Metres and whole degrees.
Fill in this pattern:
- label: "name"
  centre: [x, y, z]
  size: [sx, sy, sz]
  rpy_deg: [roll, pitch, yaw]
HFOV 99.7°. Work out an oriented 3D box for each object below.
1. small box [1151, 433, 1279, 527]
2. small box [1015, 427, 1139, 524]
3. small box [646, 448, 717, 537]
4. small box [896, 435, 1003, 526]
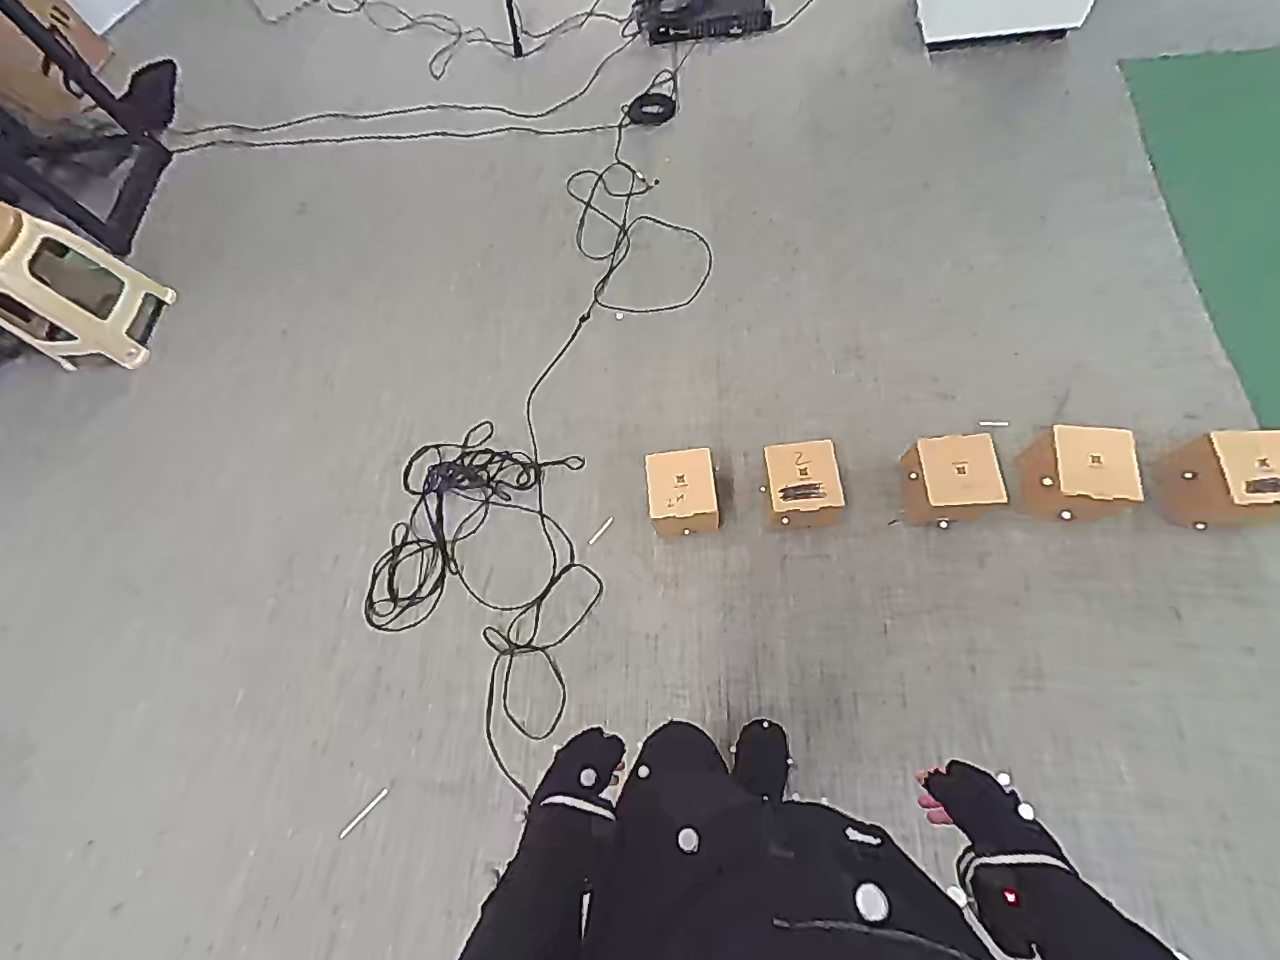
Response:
- label: "small box"
  centre: [1.349, 0.005, 1.249]
  size: [0.168, 0.176, 0.179]
  rpy_deg: [0, 68, 8]
- label: "small box"
  centre: [1.034, -0.009, 1.299]
  size: [0.168, 0.176, 0.179]
  rpy_deg: [5, 70, 10]
- label: "small box"
  centre: [0.109, 0.036, 1.410]
  size: [0.168, 0.176, 0.179]
  rpy_deg: [-7, 68, 6]
- label: "small box"
  centre: [0.750, 0.006, 1.332]
  size: [0.168, 0.176, 0.179]
  rpy_deg: [-4, 69, 8]
